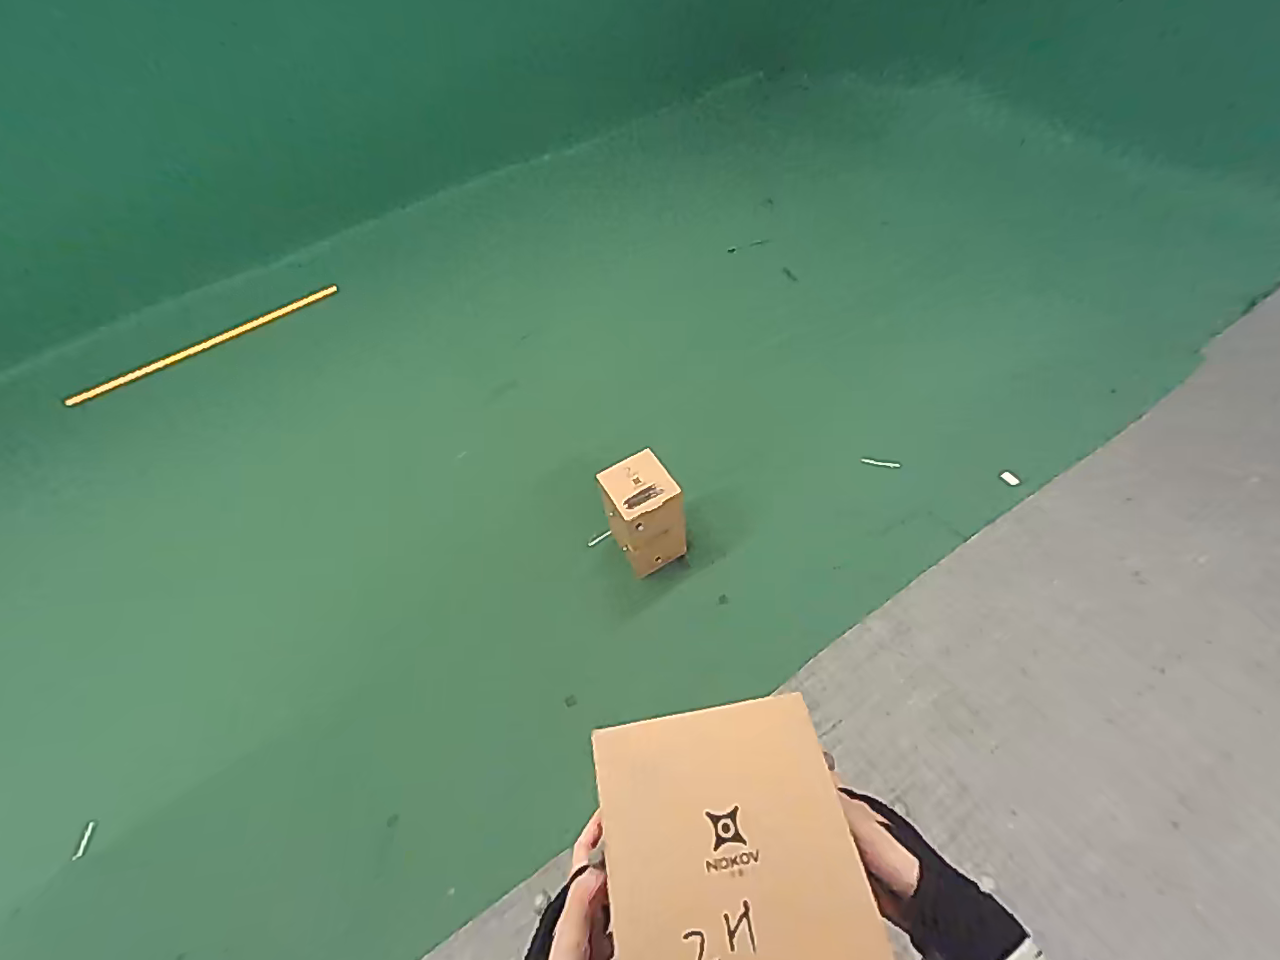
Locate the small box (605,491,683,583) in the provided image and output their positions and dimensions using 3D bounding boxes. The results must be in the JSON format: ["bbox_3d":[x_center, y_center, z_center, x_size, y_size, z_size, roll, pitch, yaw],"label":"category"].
[{"bbox_3d":[0.014,0.173,1.601,0.168,0.176,0.179,-28,56,-13],"label":"small box"}]

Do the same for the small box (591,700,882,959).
[{"bbox_3d":[0.057,0.300,0.423,0.168,0.176,0.179,-9,50,-4],"label":"small box"}]
